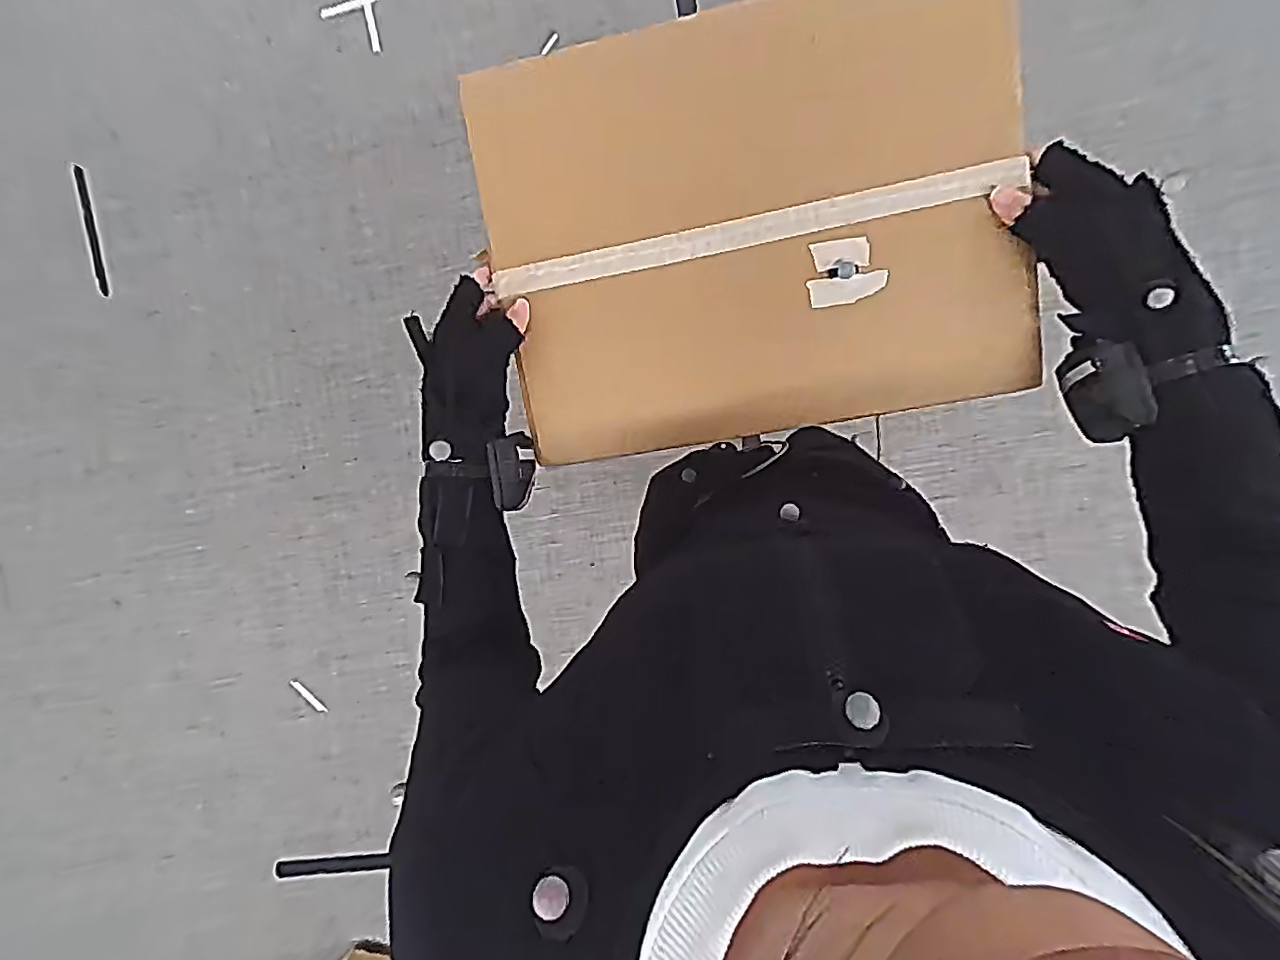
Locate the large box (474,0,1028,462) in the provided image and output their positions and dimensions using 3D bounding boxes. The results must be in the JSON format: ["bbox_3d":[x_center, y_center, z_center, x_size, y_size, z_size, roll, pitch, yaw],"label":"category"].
[{"bbox_3d":[0.098,-0.221,0.577,0.408,0.320,0.320,-10,99,7],"label":"large box"}]
